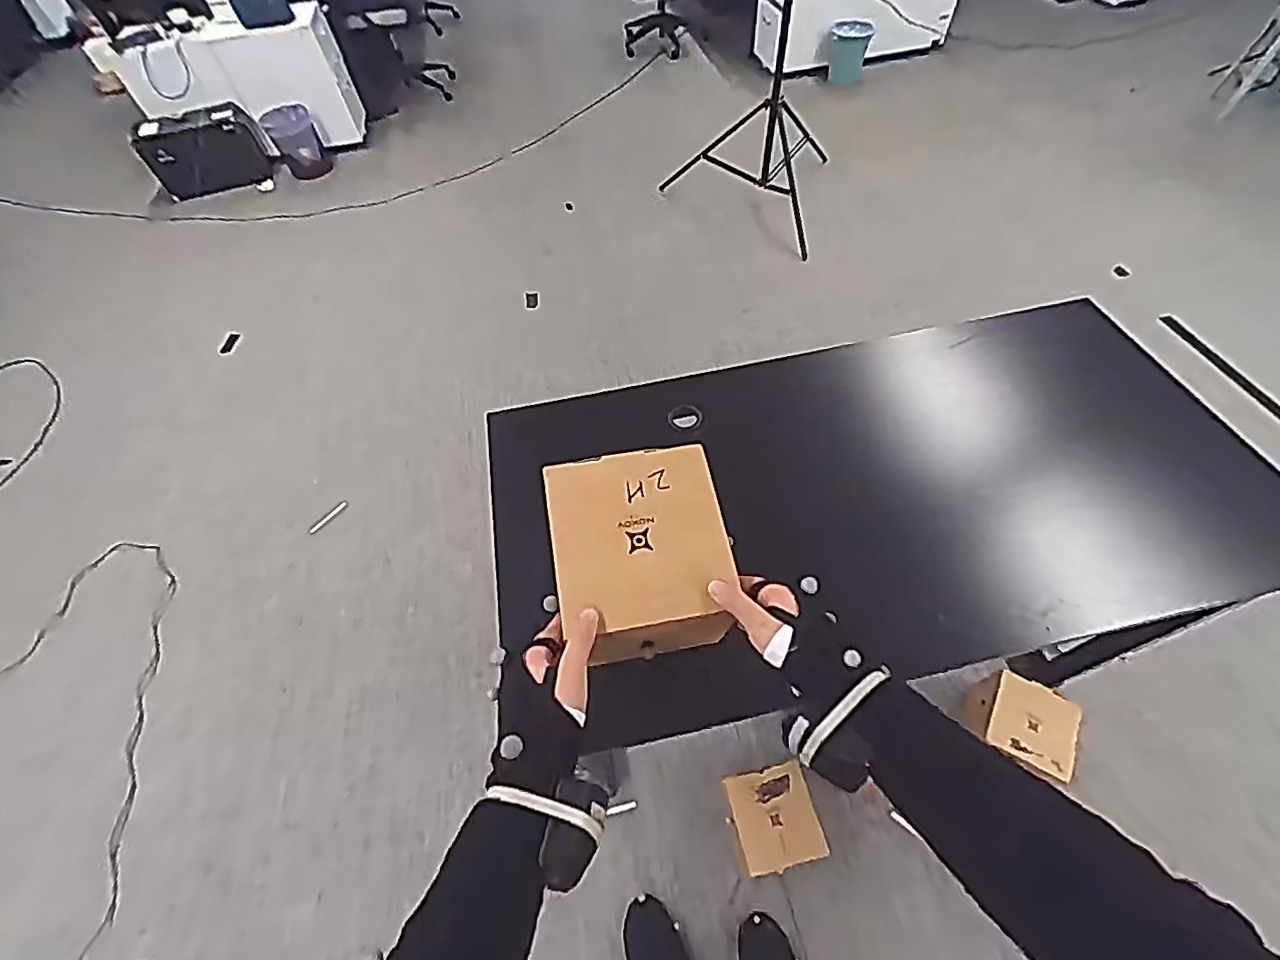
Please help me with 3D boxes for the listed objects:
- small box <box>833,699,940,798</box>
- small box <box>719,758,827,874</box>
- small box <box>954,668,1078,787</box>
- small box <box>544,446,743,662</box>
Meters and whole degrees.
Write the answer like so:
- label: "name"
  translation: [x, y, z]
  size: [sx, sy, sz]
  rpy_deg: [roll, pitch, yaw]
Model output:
- label: "small box"
  translation: [0.549, 0.613, 1.228]
  size: [0.179, 0.176, 0.168]
  rpy_deg: [5, 56, 9]
- label: "small box"
  translation: [0.276, 0.726, 1.170]
  size: [0.168, 0.176, 0.179]
  rpy_deg: [-13, 57, -4]
- label: "small box"
  translation: [0.849, 0.567, 1.234]
  size: [0.168, 0.176, 0.179]
  rpy_deg: [25, 61, 20]
- label: "small box"
  translation: [-0.003, 0.088, 0.578]
  size: [0.168, 0.176, 0.179]
  rpy_deg: [-9, 63, -6]
